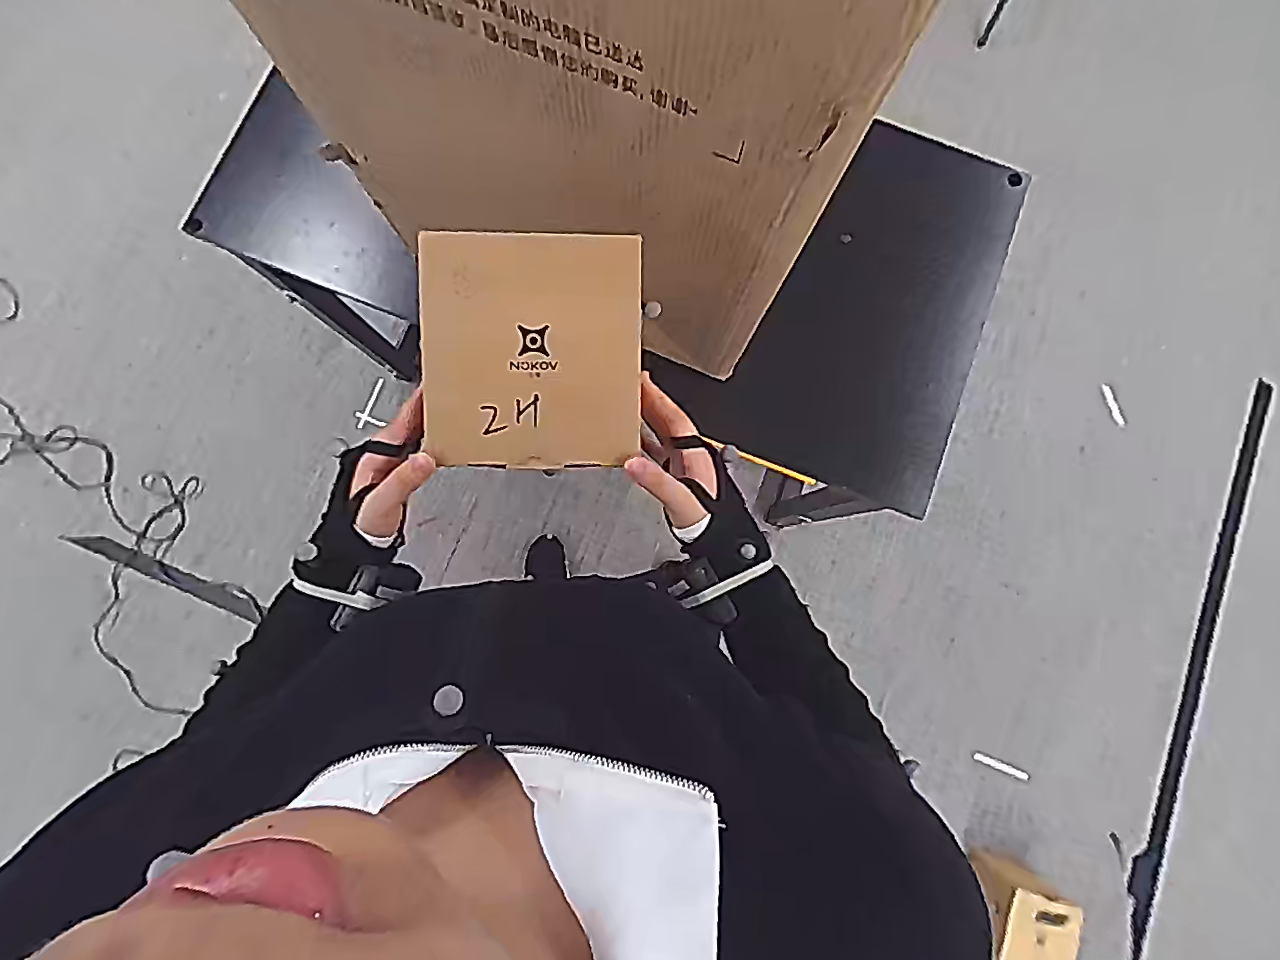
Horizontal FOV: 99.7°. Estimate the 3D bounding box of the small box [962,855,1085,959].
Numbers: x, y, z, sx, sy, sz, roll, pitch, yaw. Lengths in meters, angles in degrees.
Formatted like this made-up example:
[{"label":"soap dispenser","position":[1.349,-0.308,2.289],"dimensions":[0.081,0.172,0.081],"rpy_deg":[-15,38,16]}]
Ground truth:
[{"label":"small box","position":[0.925,1.065,1.319],"dimensions":[0.168,0.176,0.179],"rpy_deg":[18,83,1]}]
